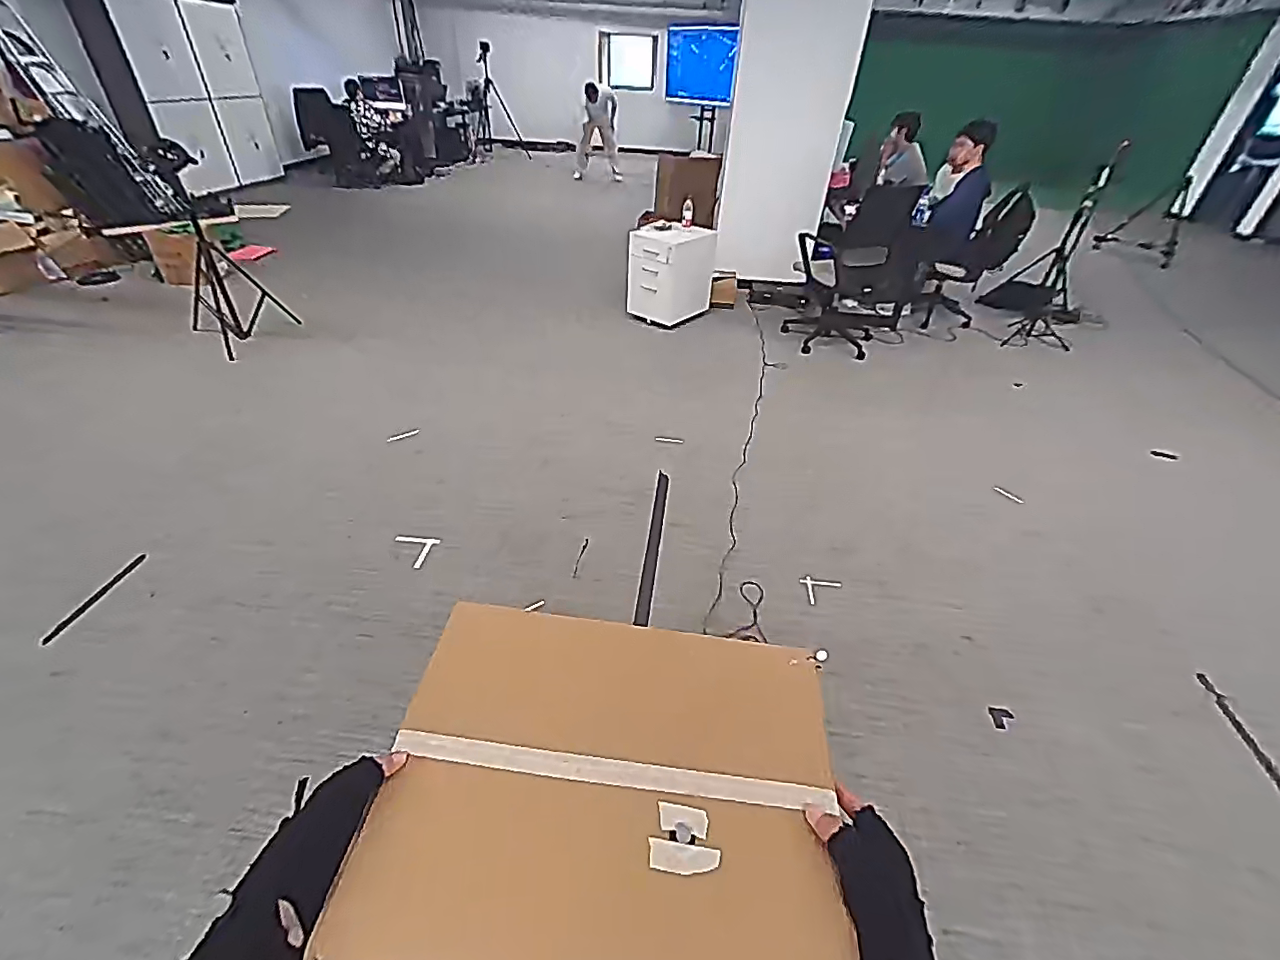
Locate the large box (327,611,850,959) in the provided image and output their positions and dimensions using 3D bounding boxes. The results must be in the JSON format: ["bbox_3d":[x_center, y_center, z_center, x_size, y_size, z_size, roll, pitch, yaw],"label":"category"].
[{"bbox_3d":[-0.035,0.384,0.602,0.408,0.320,0.320,8,43,2],"label":"large box"}]
